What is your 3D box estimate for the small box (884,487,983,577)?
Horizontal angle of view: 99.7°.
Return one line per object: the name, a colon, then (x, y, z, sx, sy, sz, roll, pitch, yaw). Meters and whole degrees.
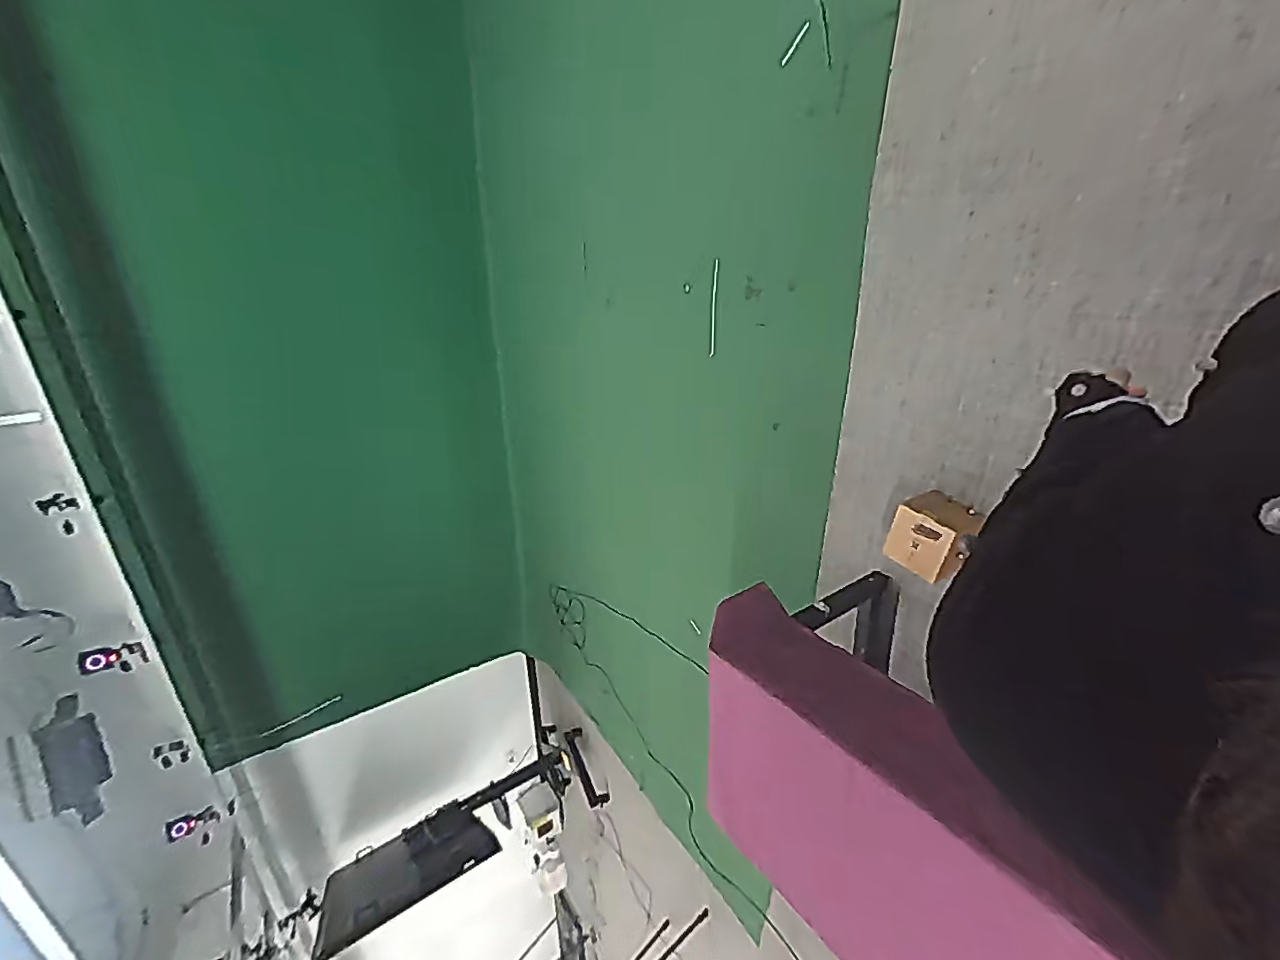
small box: (0.837, 0.141, 1.538, 0.168, 0.176, 0.179, 39, 135, 44)
